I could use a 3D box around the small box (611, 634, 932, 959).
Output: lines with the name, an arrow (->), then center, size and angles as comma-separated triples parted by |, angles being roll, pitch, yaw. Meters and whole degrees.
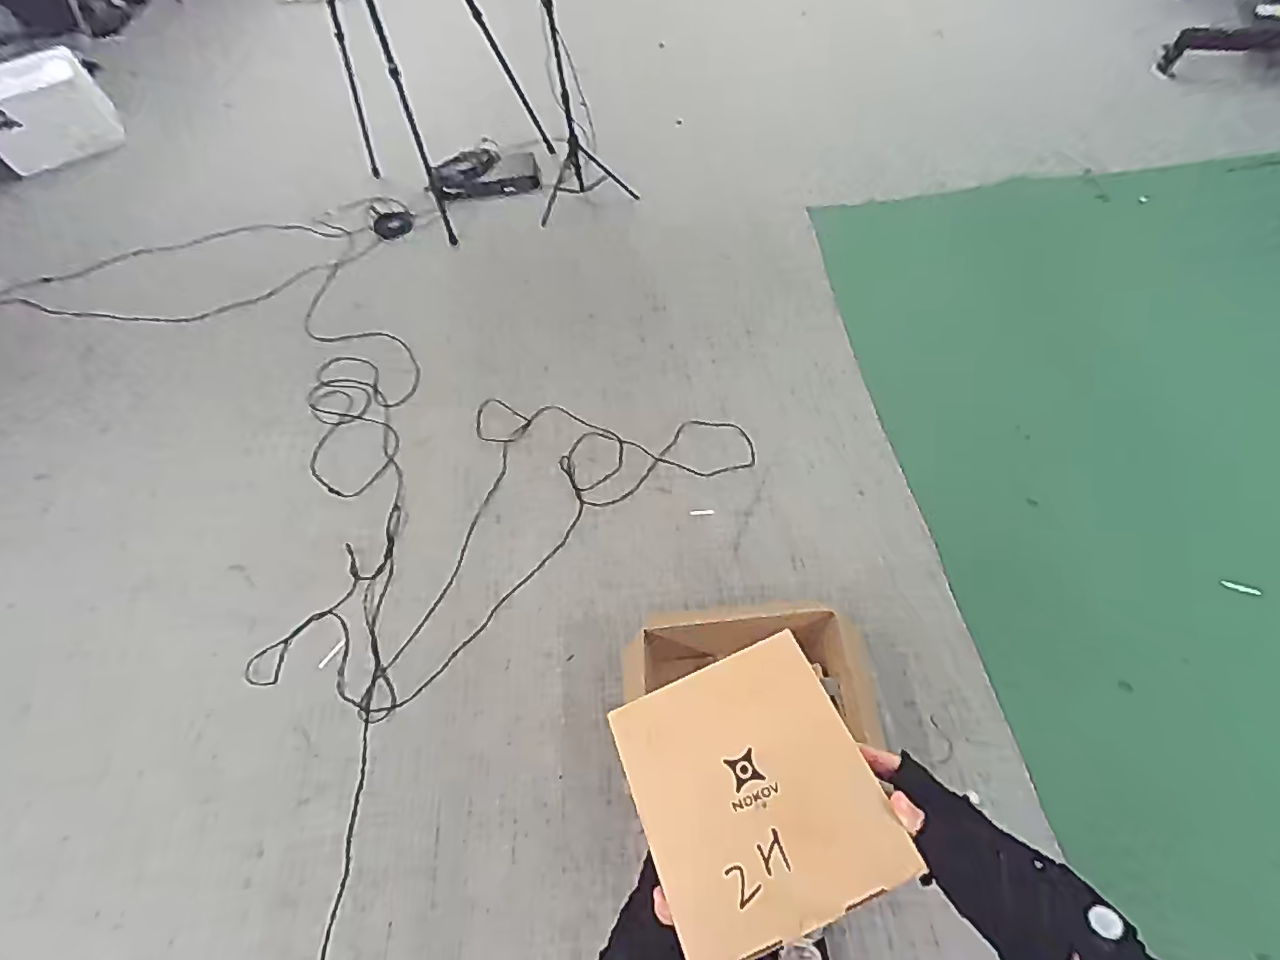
small box -> 0.094, 0.260, 0.442 | 0.168, 0.176, 0.179 | -24, 54, -1
